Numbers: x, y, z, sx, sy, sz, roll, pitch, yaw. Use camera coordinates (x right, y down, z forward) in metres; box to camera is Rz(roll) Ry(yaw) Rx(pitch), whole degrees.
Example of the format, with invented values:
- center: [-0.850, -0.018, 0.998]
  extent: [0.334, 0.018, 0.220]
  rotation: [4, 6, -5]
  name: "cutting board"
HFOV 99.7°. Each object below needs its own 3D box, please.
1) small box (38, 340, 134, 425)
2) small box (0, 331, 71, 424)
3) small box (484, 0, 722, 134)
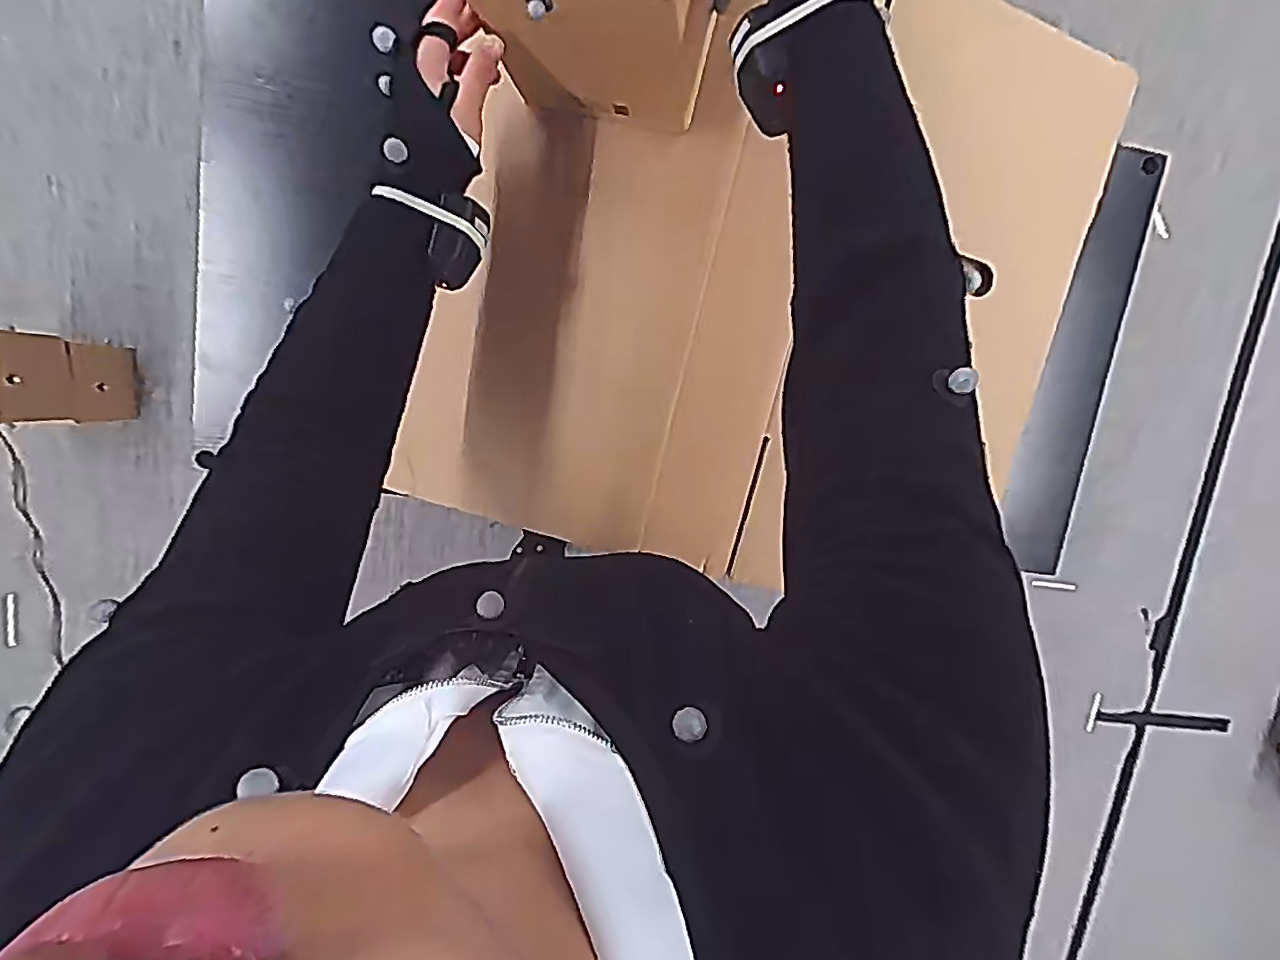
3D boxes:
- center: [-1.282, -0.220, 1.202]
  extent: [0.168, 0.176, 0.179]
  rotation: [3, 100, -7]
  name: "small box"
- center: [-1.264, -0.199, 1.042]
  extent: [0.168, 0.176, 0.179]
  rotation: [0, 98, -8]
  name: "small box"
- center: [-0.022, -0.416, 0.420]
  extent: [0.168, 0.176, 0.179]
  rotation: [15, 97, 6]
  name: "small box"
